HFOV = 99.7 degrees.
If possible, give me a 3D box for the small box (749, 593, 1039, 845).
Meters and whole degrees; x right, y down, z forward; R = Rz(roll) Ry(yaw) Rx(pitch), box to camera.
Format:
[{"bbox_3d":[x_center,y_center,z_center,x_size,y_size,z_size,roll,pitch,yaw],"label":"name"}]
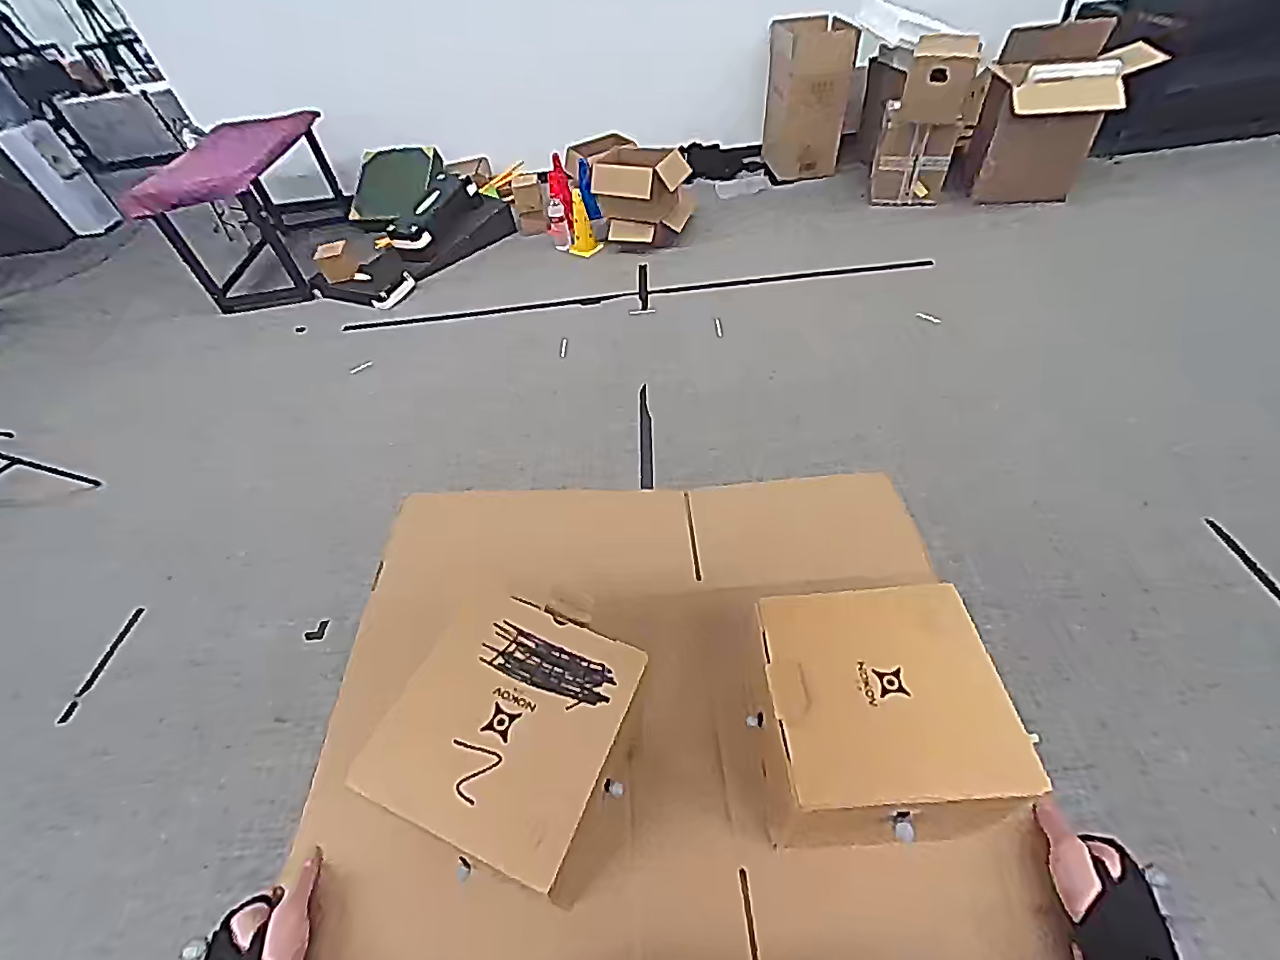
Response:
[{"bbox_3d":[0.203,0.223,0.498,0.179,0.176,0.168,-6,47,3],"label":"small box"}]
